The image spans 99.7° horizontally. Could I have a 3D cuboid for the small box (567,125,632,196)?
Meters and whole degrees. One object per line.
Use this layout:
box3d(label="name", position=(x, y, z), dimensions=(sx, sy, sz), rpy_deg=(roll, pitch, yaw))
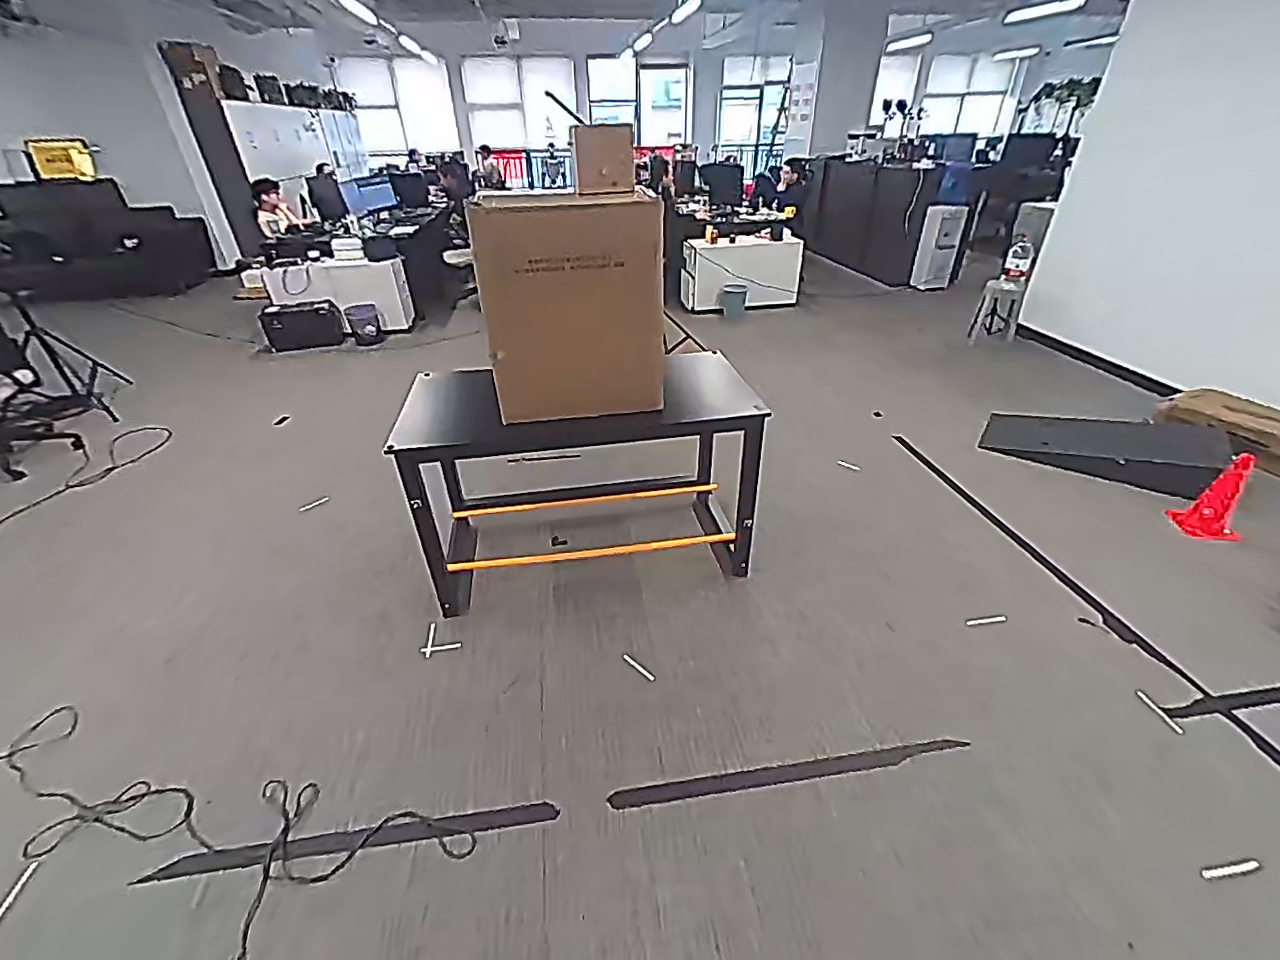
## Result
box3d(label="small box", position=(-0.120, -0.931, 1.579), dimensions=(0.168, 0.176, 0.179), rpy_deg=(-8, 33, -8))
